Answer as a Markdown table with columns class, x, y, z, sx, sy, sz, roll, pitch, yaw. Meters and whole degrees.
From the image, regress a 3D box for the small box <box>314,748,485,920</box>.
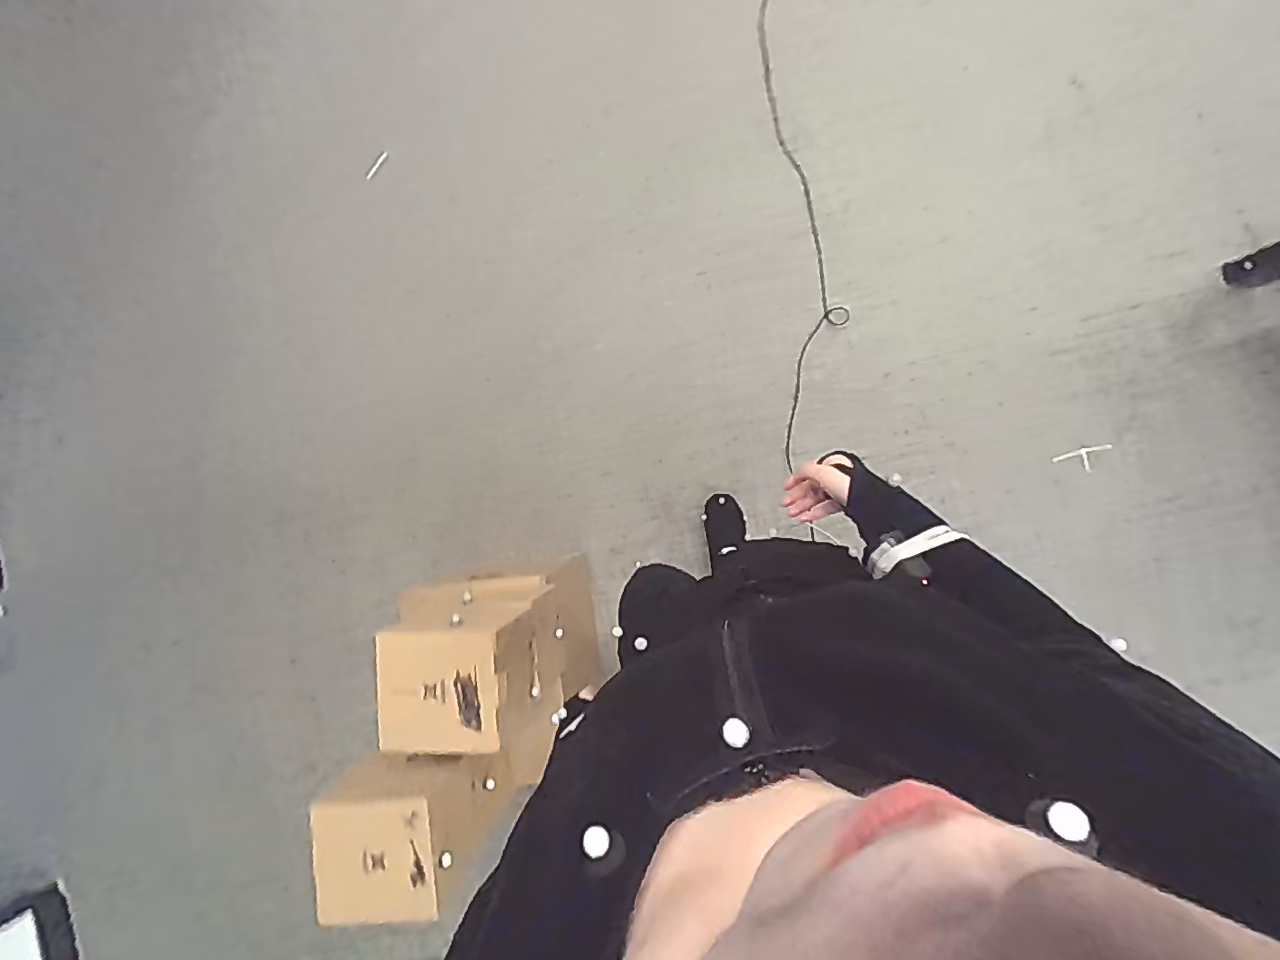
| class | x | y | z | sx | sy | sz | roll | pitch | yaw |
| --- | --- | --- | --- | --- | --- | --- | --- | --- | --- |
| small box | -0.358 | 0.525 | 0.826 | 0.179 | 0.176 | 0.168 | -6 | 88 | 6 |

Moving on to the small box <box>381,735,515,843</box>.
| class | x | y | z | sx | sy | sz | roll | pitch | yaw |
| --- | --- | --- | --- | --- | --- | --- | --- | --- | --- |
| small box | -0.342 | 0.534 | 0.991 | 0.168 | 0.176 | 0.179 | -9 | 87 | 6 |

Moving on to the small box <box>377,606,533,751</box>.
| class | x | y | z | sx | sy | sz | roll | pitch | yaw |
| --- | --- | --- | --- | --- | --- | --- | --- | --- | --- |
| small box | -0.268 | 0.290 | 0.824 | 0.179 | 0.176 | 0.168 | -3 | 88 | 8 |

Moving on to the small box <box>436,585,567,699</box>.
| class | x | y | z | sx | sy | sz | roll | pitch | yaw |
| --- | --- | --- | --- | --- | --- | --- | --- | --- | --- |
| small box | -0.246 | 0.292 | 0.987 | 0.179 | 0.176 | 0.168 | -7 | 88 | 7 |
